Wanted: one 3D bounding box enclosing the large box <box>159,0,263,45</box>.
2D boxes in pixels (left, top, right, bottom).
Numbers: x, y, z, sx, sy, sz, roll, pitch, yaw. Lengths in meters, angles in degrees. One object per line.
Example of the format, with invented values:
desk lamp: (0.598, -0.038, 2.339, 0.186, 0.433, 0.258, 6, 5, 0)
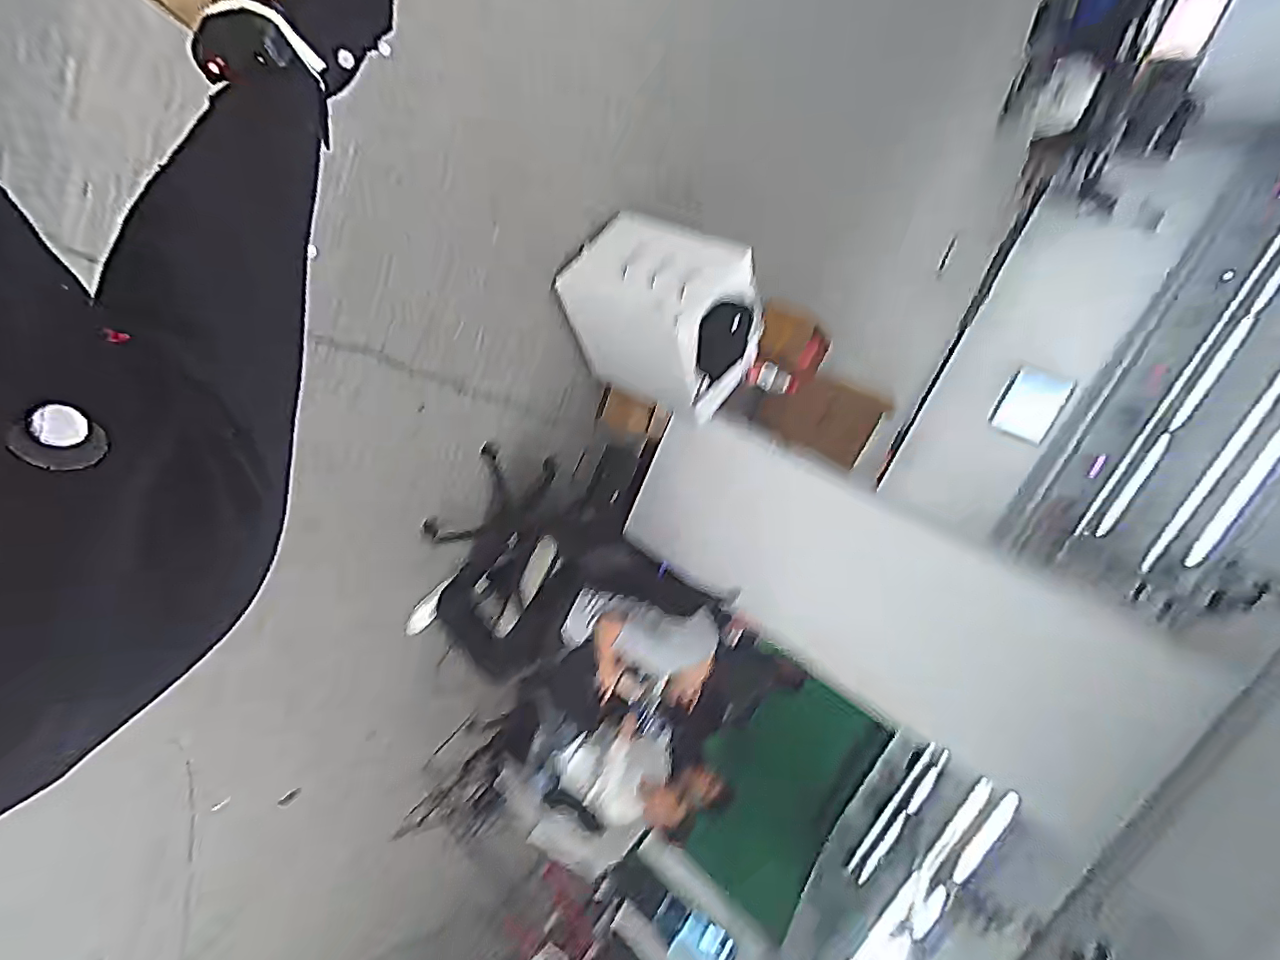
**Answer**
large box: (-0.442, -0.614, 0.346, 0.320, 0.320, 0.408, -52, 151, 6)
